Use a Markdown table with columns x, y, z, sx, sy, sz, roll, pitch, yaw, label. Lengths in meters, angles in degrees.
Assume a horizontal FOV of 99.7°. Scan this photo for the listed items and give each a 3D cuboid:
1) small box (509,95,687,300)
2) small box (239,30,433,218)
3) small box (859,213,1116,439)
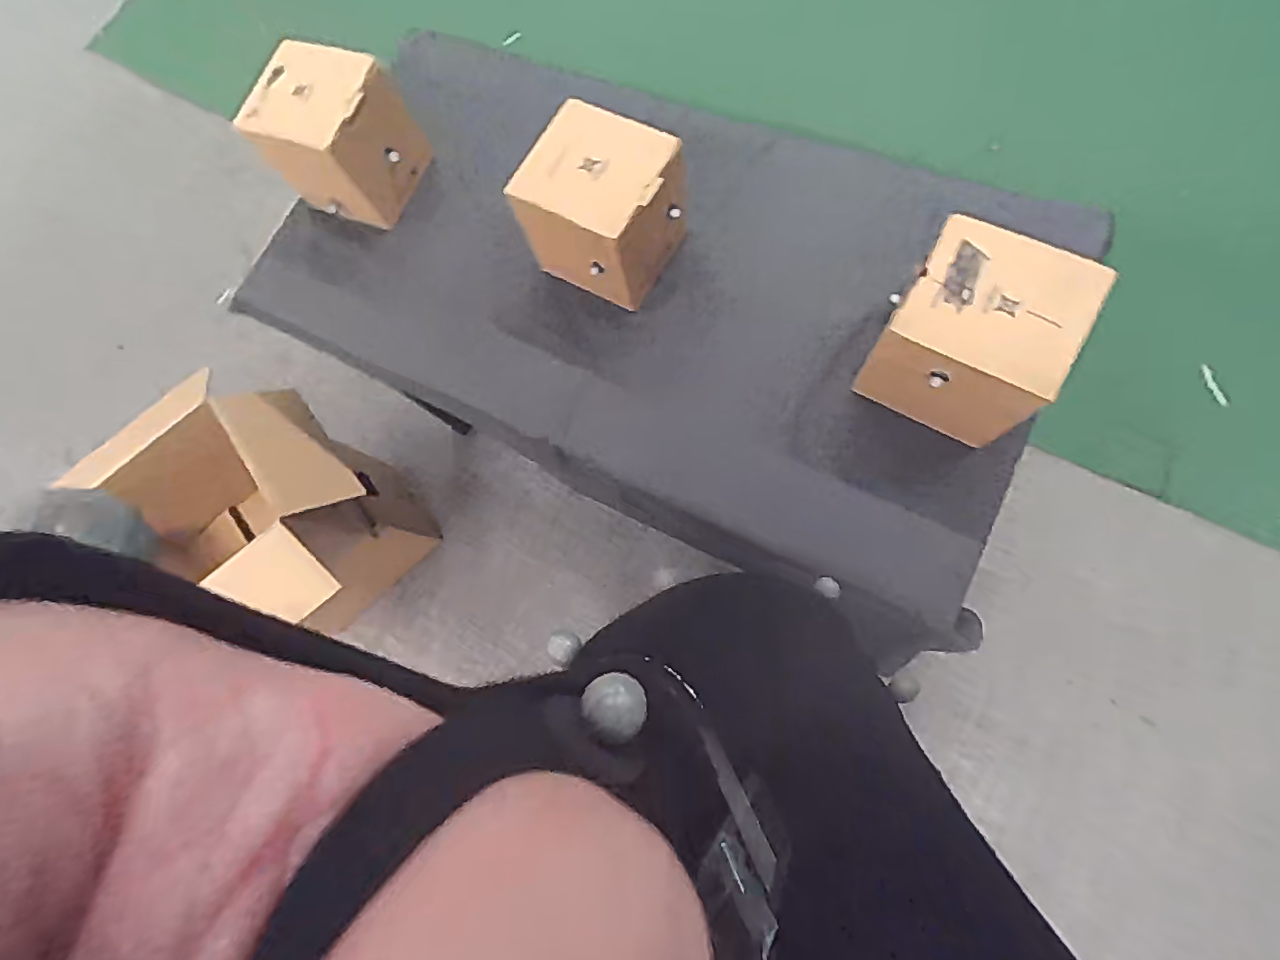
| x | y | z | sx | sy | sz | roll | pitch | yaw | label |
| --- | --- | --- | --- | --- | --- | --- | --- | --- | --- |
| -0.046 | -0.385 | 0.765 | 0.179 | 0.176 | 0.168 | 29 | 81 | 15 | small box |
| -0.466 | -0.553 | 0.860 | 0.179 | 0.176 | 0.168 | 21 | 80 | 11 | small box |
| 0.392 | -0.170 | 0.648 | 0.179 | 0.176 | 0.168 | 30 | 83 | 13 | small box |
